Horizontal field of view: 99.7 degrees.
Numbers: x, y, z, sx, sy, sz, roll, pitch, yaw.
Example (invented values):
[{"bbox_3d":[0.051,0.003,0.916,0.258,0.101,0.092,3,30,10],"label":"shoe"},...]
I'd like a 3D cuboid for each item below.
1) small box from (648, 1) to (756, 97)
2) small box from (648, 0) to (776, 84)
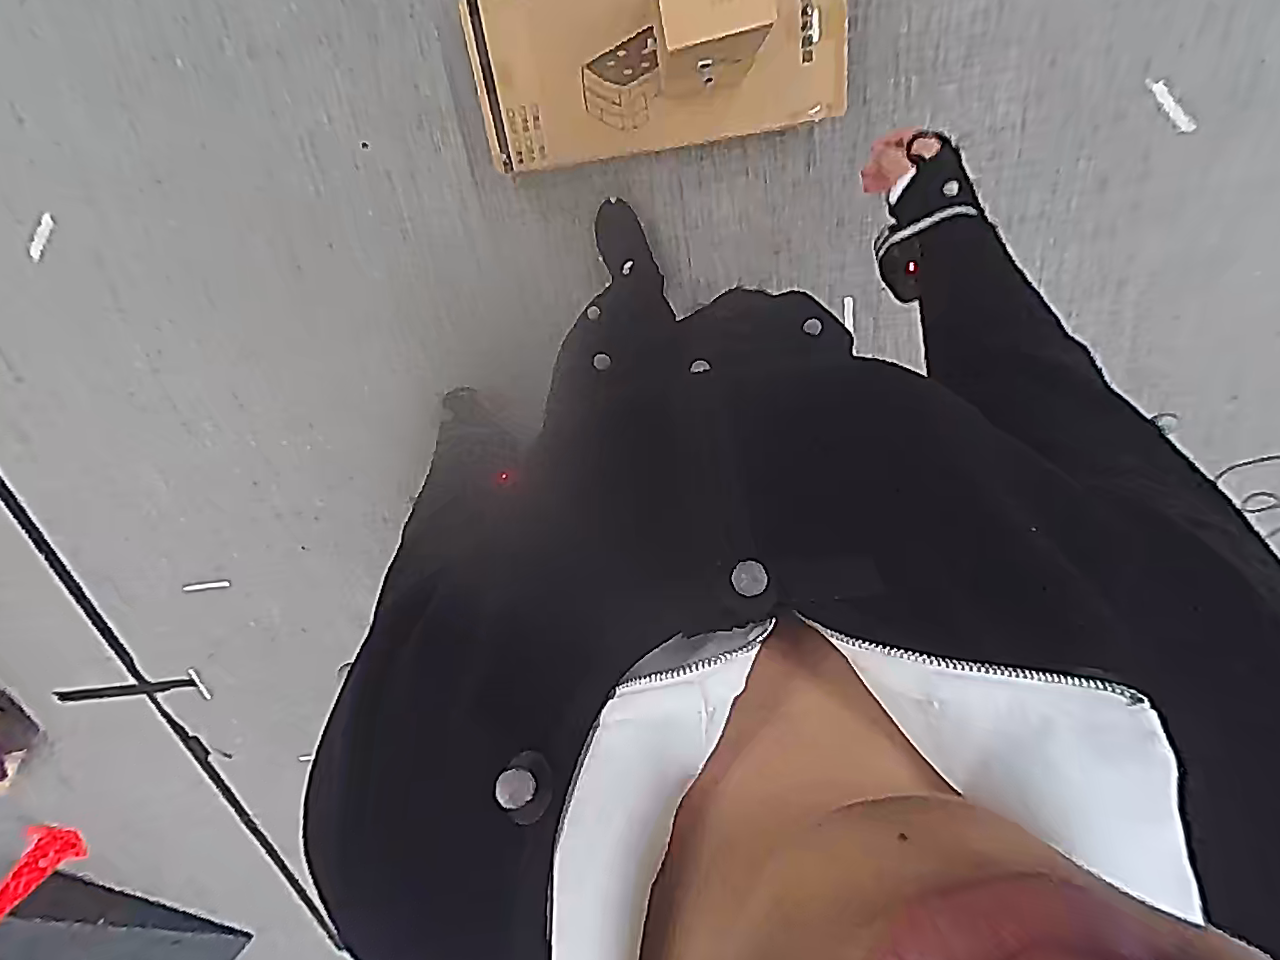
[{"bbox_3d":[0.108,-0.821,0.981,0.168,0.176,0.179,-10,115,4],"label":"small box"},{"bbox_3d":[0.101,-0.753,0.833,0.168,0.176,0.179,-12,114,6],"label":"small box"}]
